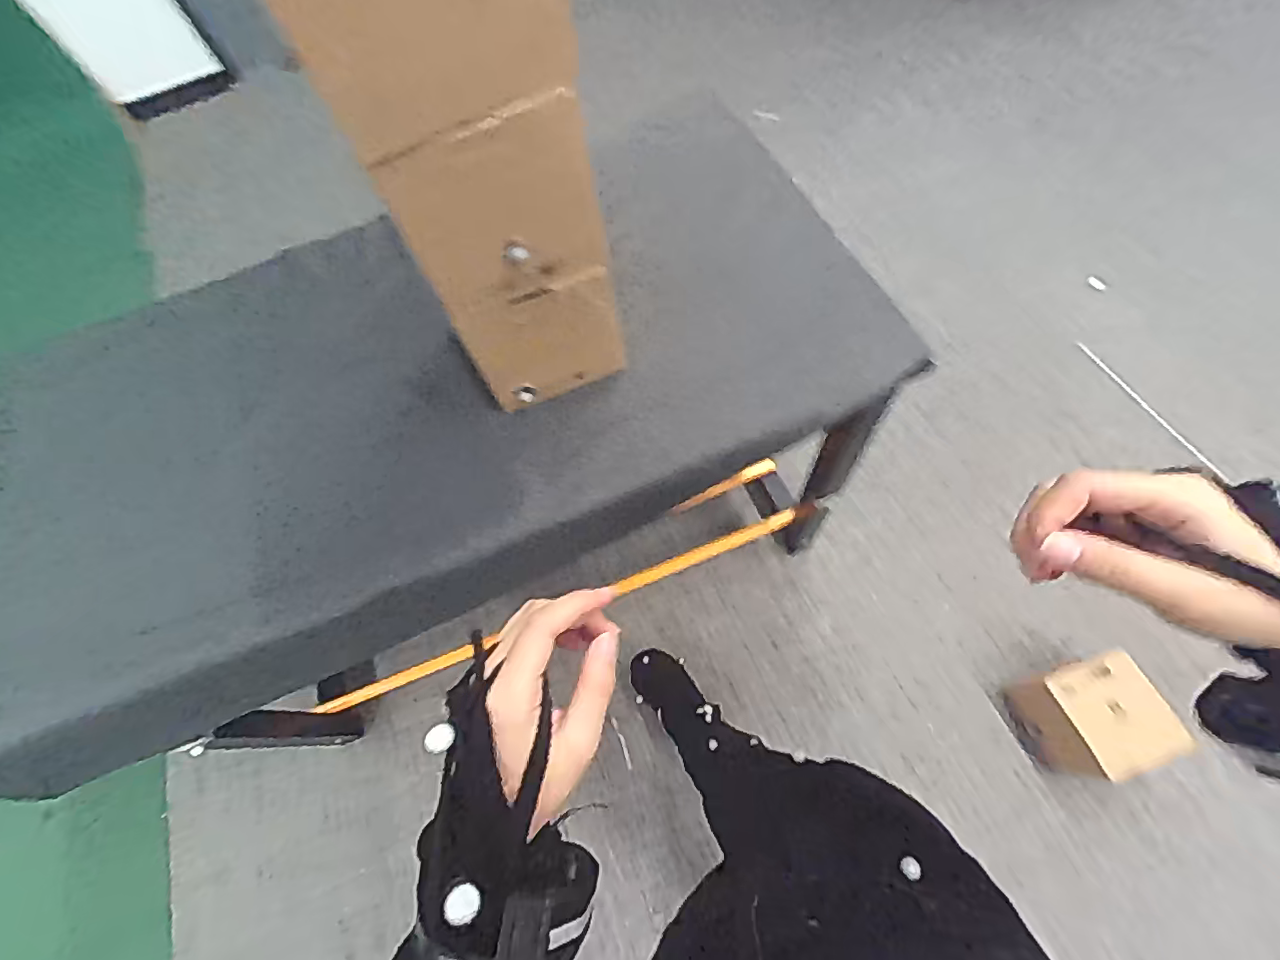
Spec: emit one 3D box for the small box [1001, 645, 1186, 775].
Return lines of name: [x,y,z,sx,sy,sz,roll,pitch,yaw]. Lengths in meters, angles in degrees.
small box: [0.848,0.435,1.034,0.168,0.176,0.179,-21,66,-3]

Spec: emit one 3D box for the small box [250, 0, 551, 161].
small box: [-0.174,-0.357,0.354,0.179,0.176,0.168,-30,64,-6]

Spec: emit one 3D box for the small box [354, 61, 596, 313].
small box: [-0.156,-0.294,0.503,0.168,0.176,0.179,-25,65,-4]

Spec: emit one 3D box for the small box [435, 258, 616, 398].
small box: [-0.139,-0.221,0.650,0.168,0.176,0.179,-22,64,-4]
